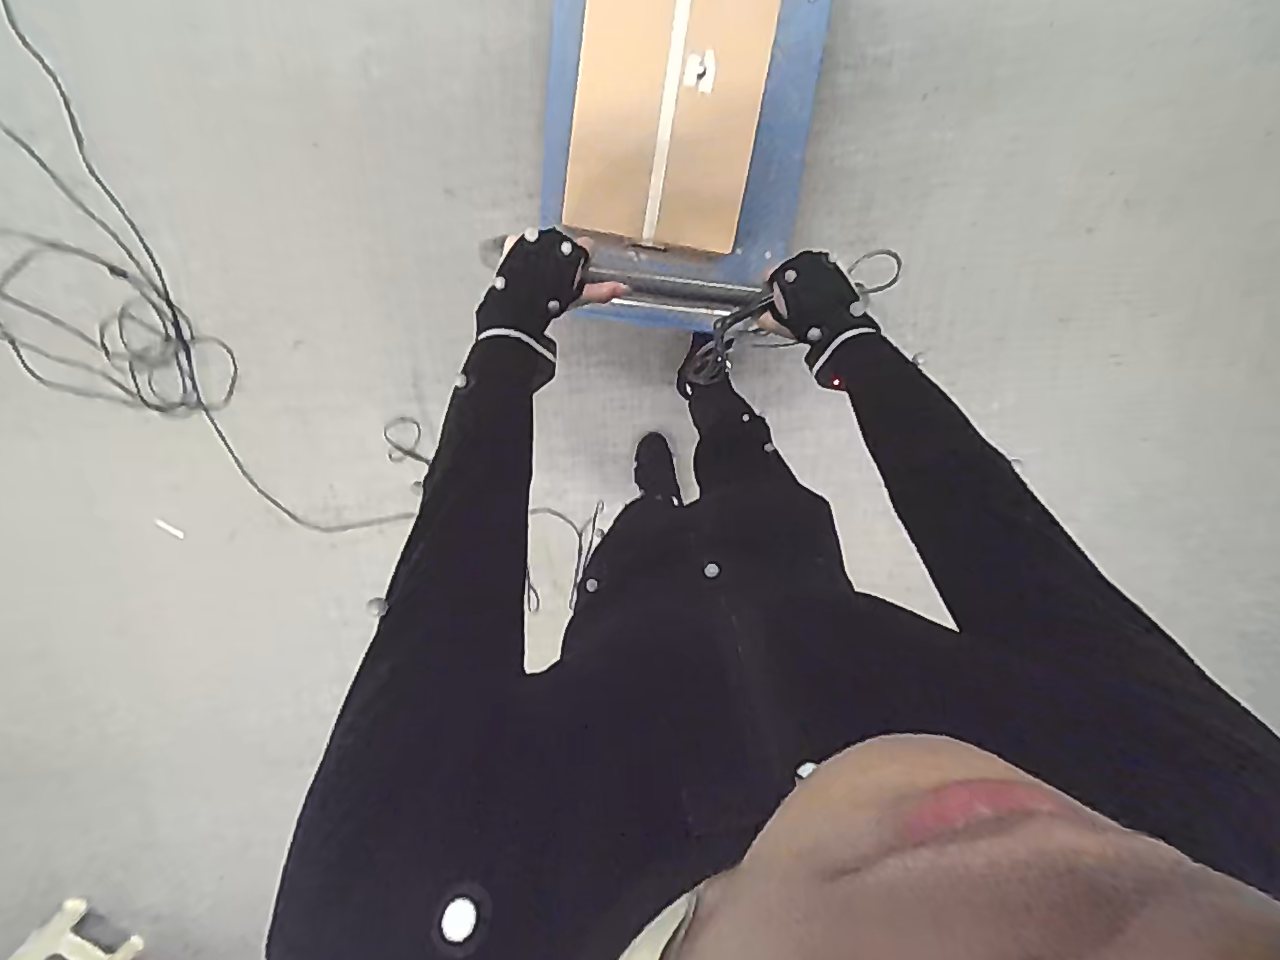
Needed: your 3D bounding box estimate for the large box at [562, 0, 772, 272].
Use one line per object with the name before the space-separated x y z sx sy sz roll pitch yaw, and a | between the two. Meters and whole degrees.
large box | 0.042 -0.657 1.072 0.320 0.320 0.408 9 105 -2
